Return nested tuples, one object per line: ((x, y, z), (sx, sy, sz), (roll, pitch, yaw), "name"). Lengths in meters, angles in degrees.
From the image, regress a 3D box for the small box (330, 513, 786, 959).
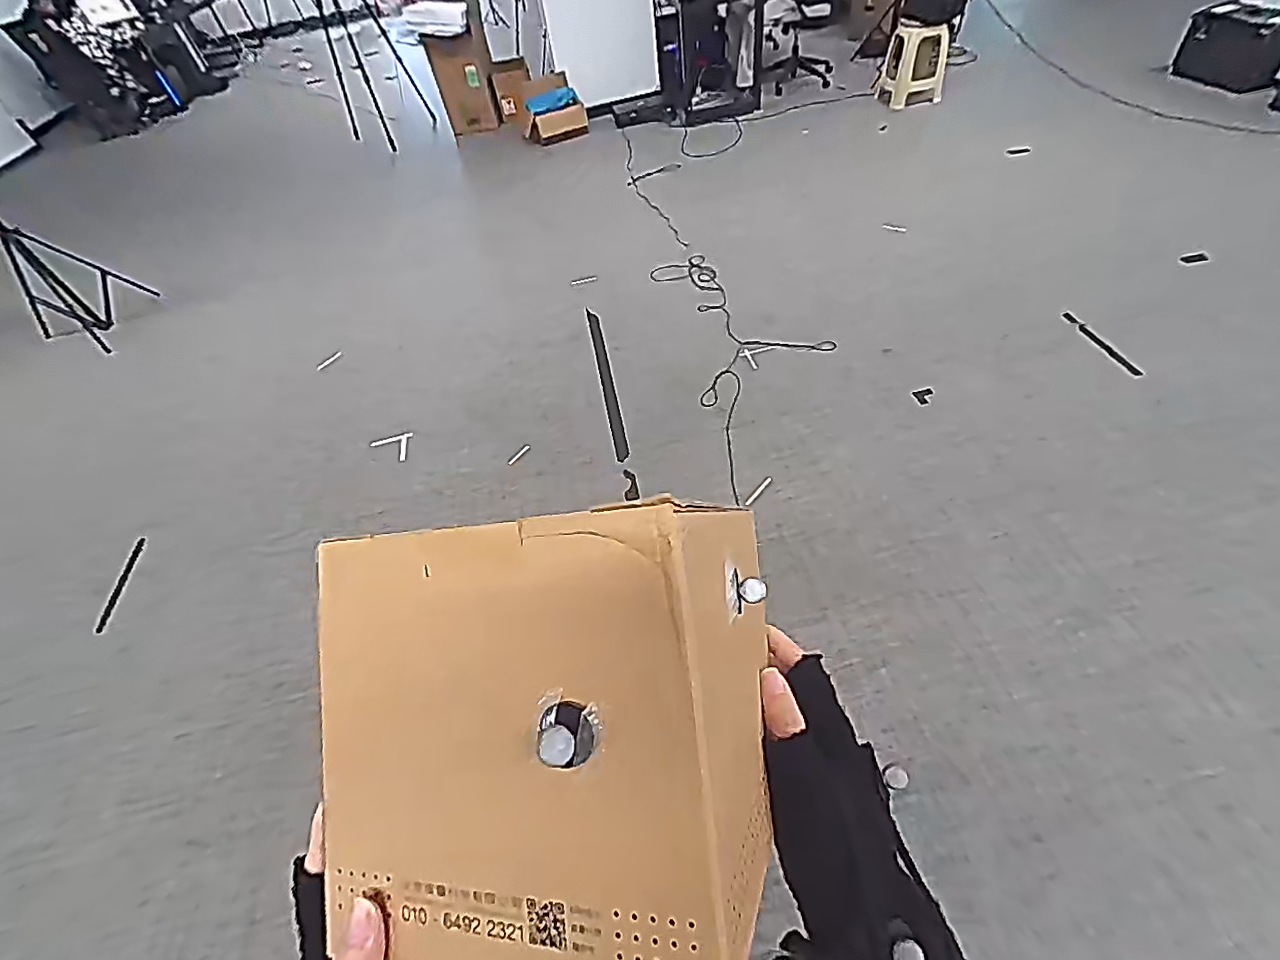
((-0.023, 0.112, 0.280), (0.168, 0.179, 0.176), (-8, 83, 20), "small box")
